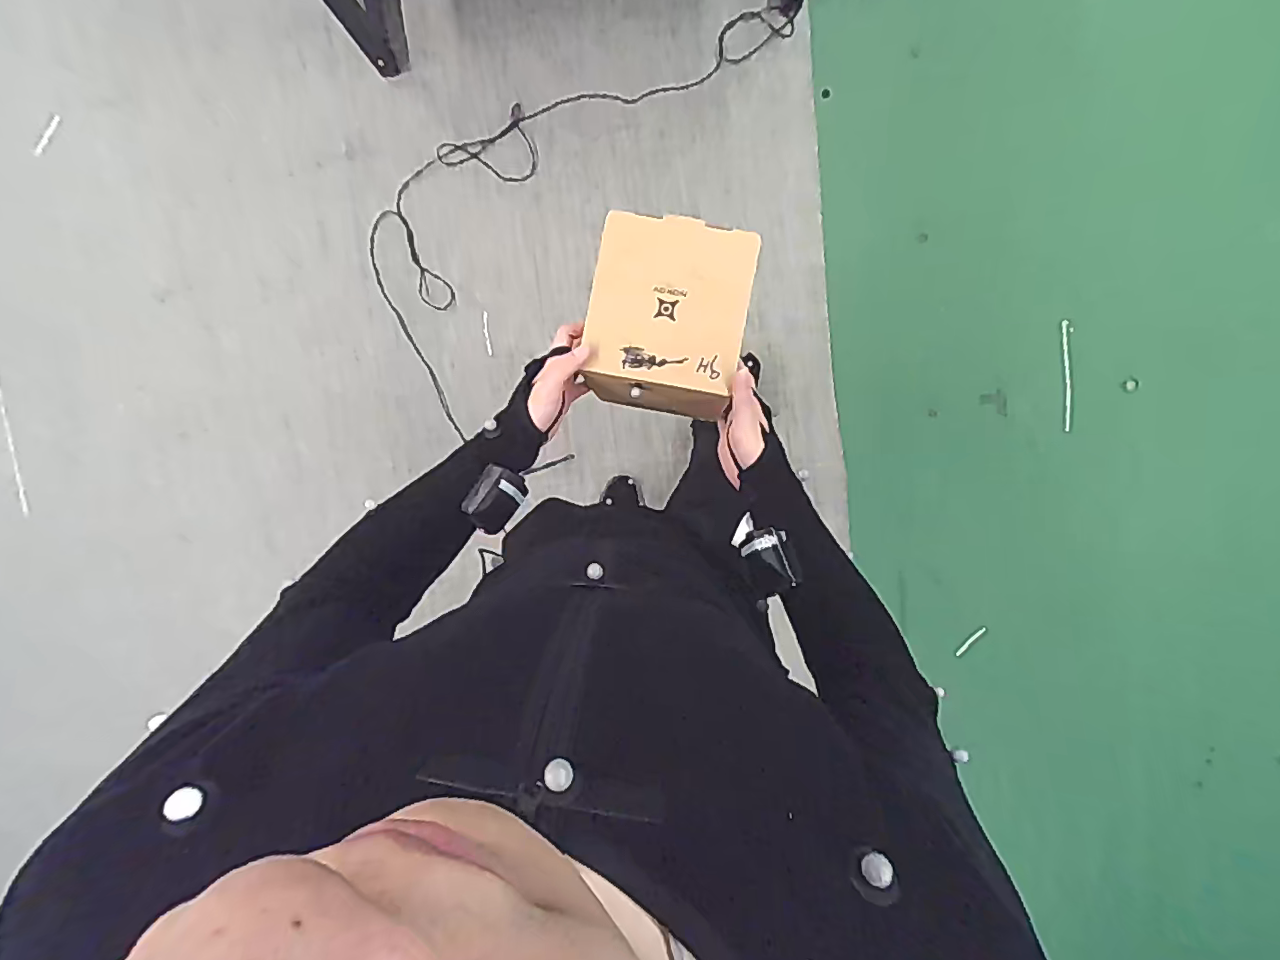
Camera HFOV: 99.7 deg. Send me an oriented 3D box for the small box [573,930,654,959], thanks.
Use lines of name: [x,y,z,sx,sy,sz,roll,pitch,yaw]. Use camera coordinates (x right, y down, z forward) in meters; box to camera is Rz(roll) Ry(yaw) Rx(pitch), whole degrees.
small box: [-0.052,1.053,1.078,0.168,0.176,0.179,-2,96,0]

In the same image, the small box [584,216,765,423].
small box: [0.039,-0.178,0.647,0.168,0.176,0.179,11,88,3]
